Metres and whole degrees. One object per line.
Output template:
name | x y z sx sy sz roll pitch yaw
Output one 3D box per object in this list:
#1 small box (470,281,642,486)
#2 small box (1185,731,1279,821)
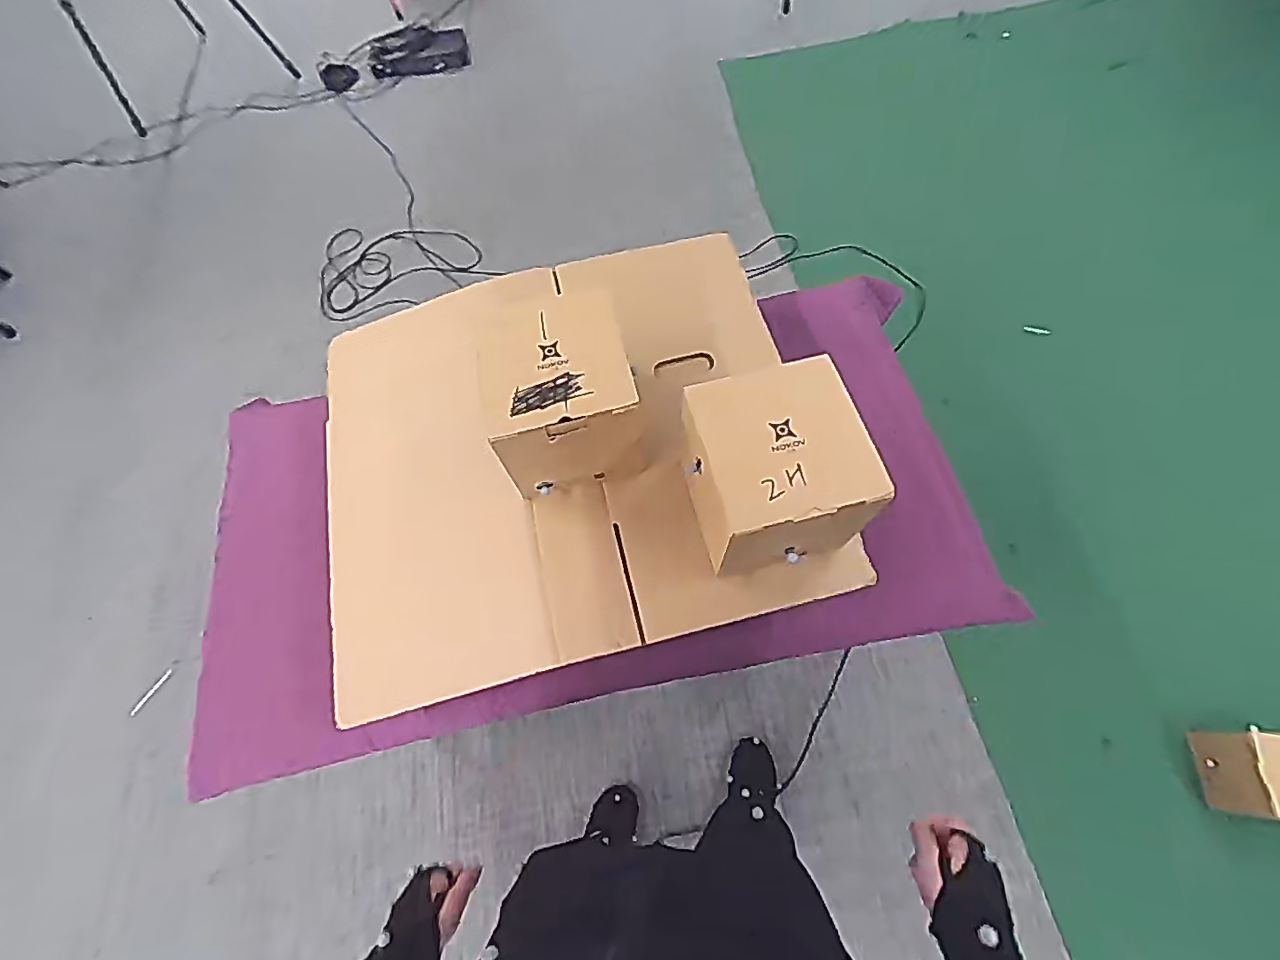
small box | -0.095 -0.106 0.668 0.168 0.176 0.179 -14 66 -4
small box | 1.389 0.654 1.196 0.179 0.176 0.168 2 66 7
